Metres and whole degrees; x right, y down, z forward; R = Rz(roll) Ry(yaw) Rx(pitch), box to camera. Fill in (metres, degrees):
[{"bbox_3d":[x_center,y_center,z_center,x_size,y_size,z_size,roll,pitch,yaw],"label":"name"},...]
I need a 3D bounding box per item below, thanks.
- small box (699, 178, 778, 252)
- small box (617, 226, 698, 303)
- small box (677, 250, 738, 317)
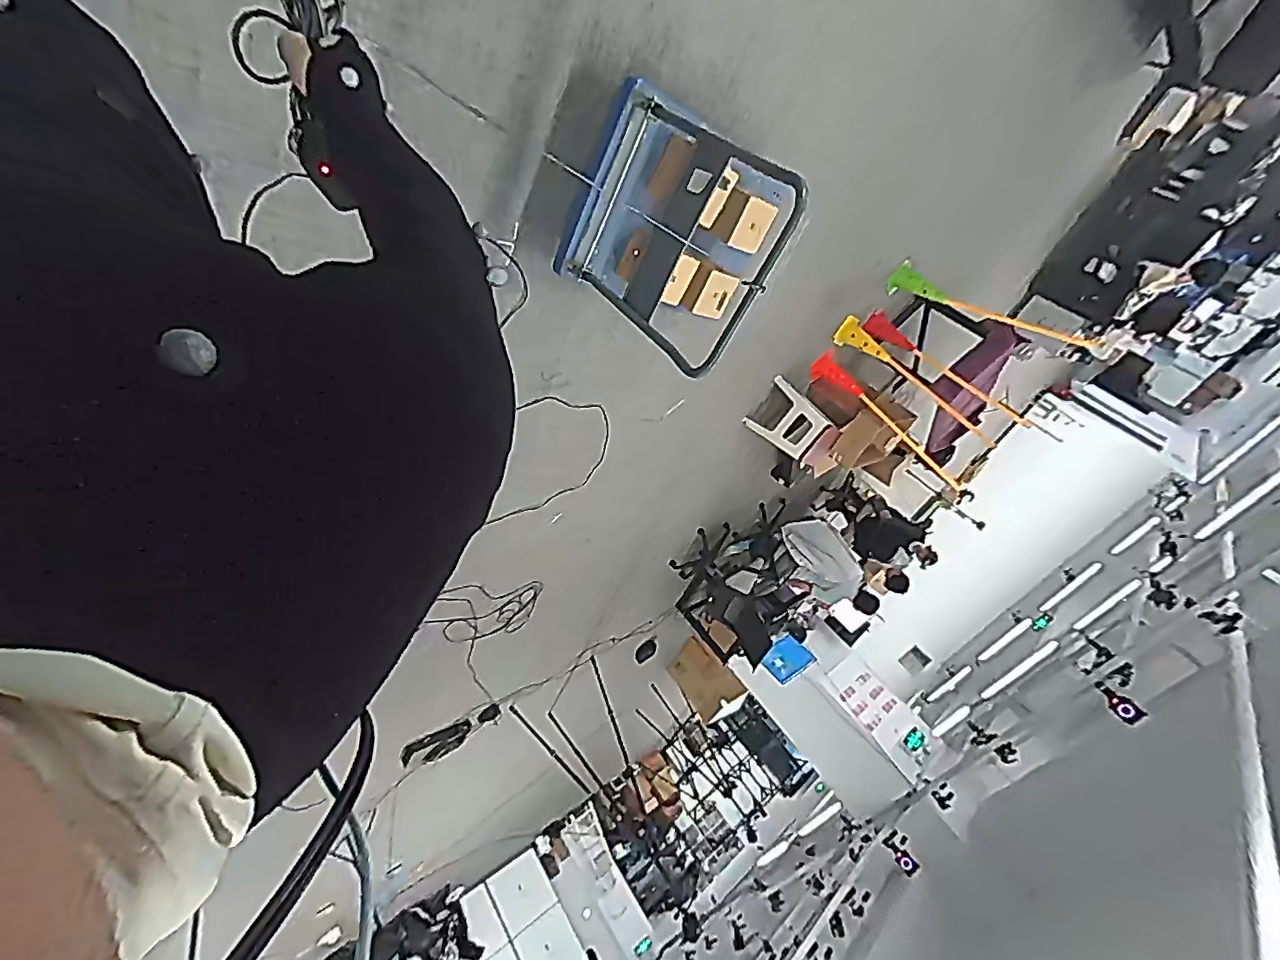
[{"bbox_3d":[0.337,-0.928,1.888,0.179,0.176,0.168,-8,137,-45],"label":"small box"},{"bbox_3d":[0.056,-0.726,1.819,0.179,0.176,0.168,-3,132,-48],"label":"small box"},{"bbox_3d":[0.226,-0.733,2.012,0.179,0.176,0.168,-6,134,-46],"label":"small box"}]
